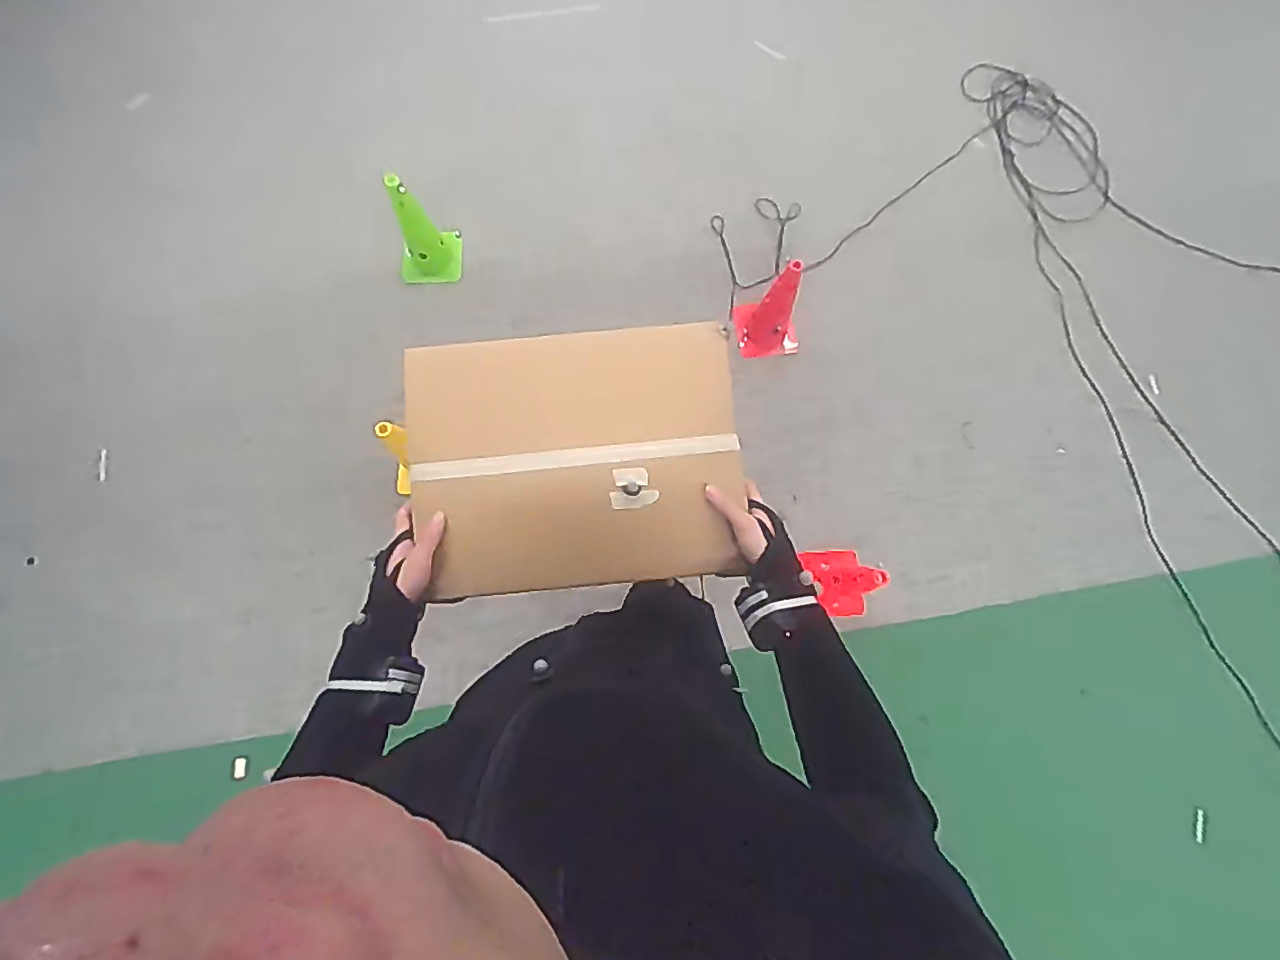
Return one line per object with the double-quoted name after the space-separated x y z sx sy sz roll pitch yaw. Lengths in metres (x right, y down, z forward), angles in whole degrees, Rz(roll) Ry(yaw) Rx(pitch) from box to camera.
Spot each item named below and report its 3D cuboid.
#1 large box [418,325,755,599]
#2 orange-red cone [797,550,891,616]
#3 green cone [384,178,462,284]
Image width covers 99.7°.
-0.074 -0.012 0.822 0.408 0.320 0.320 -5 85 -1 "large box"
0.591 0.279 1.493 0.199 0.360 0.198 -1 78 -3 "orange-red cone"
-0.721 -0.815 1.719 0.200 0.368 0.202 -3 78 -2 "green cone"
